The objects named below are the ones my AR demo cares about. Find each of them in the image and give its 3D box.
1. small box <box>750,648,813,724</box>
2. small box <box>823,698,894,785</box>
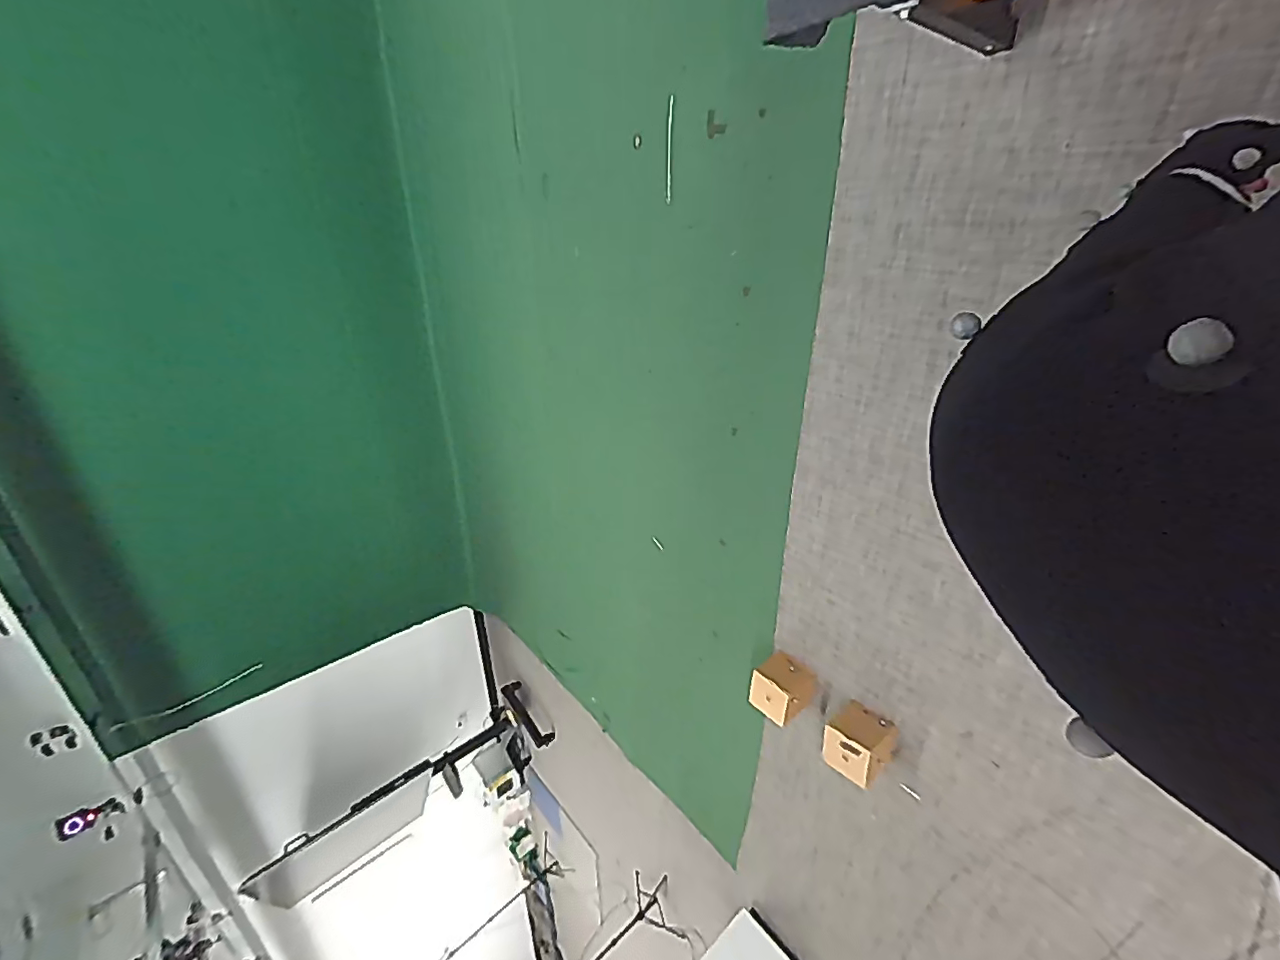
[{"bbox_3d":[0.551,0.796,2.102,0.168,0.176,0.179,27,126,42],"label":"small box"},{"bbox_3d":[0.762,0.901,1.881,0.168,0.176,0.179,22,123,46],"label":"small box"}]
